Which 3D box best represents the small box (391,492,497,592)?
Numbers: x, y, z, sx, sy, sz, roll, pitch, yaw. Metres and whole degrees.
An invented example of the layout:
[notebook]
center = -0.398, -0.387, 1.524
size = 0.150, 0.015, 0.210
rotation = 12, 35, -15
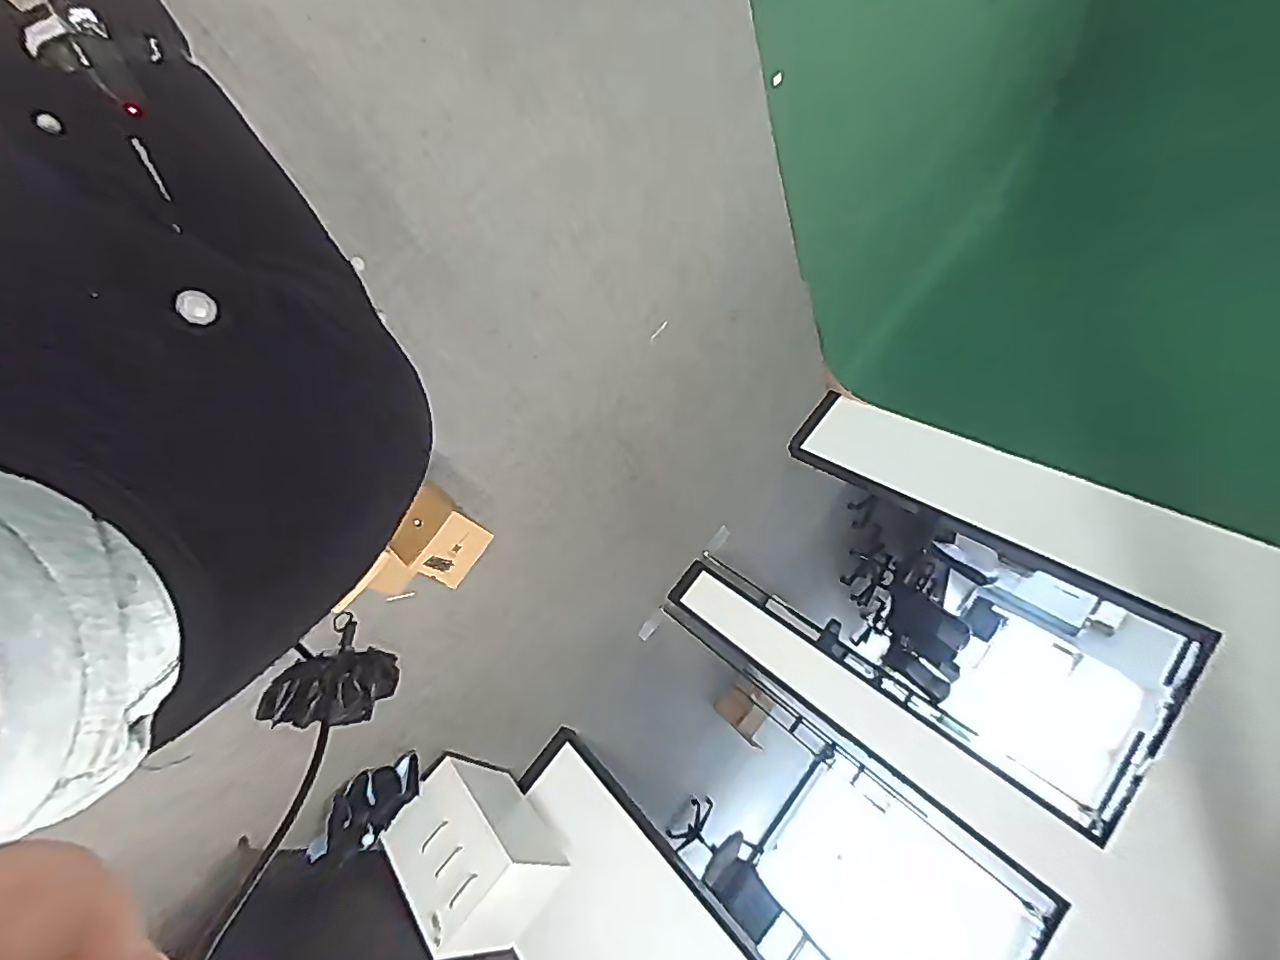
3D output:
[small box]
center = -0.522, 0.161, 1.424
size = 0.179, 0.176, 0.168
rotation = -56, 143, -11
